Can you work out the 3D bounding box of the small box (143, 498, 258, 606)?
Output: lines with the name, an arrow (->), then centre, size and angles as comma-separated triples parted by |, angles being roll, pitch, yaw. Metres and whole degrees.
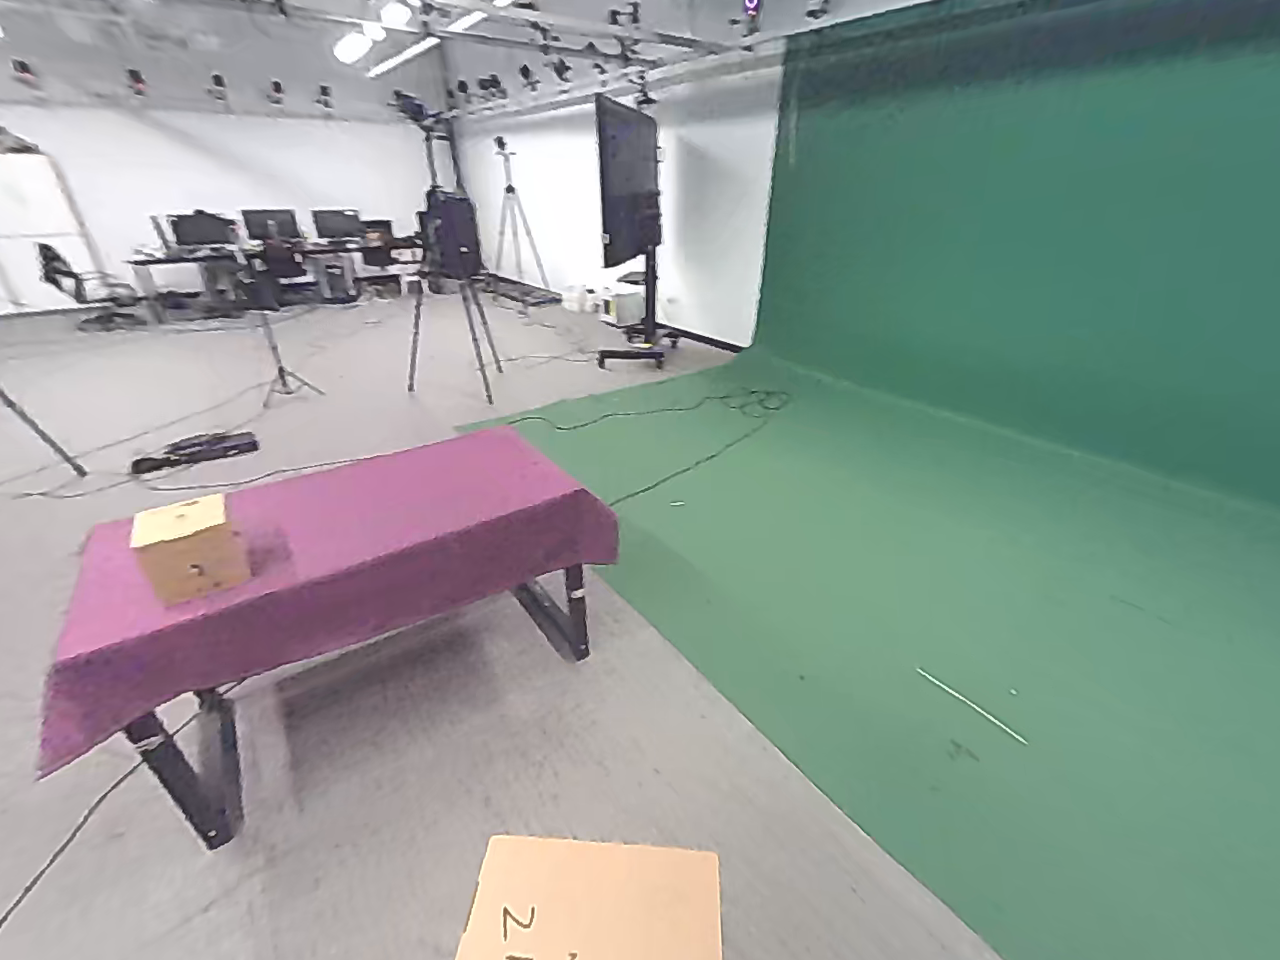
small box -> -1.026, 0.173, 1.273 | 0.168, 0.176, 0.179 | -19, 34, -30
